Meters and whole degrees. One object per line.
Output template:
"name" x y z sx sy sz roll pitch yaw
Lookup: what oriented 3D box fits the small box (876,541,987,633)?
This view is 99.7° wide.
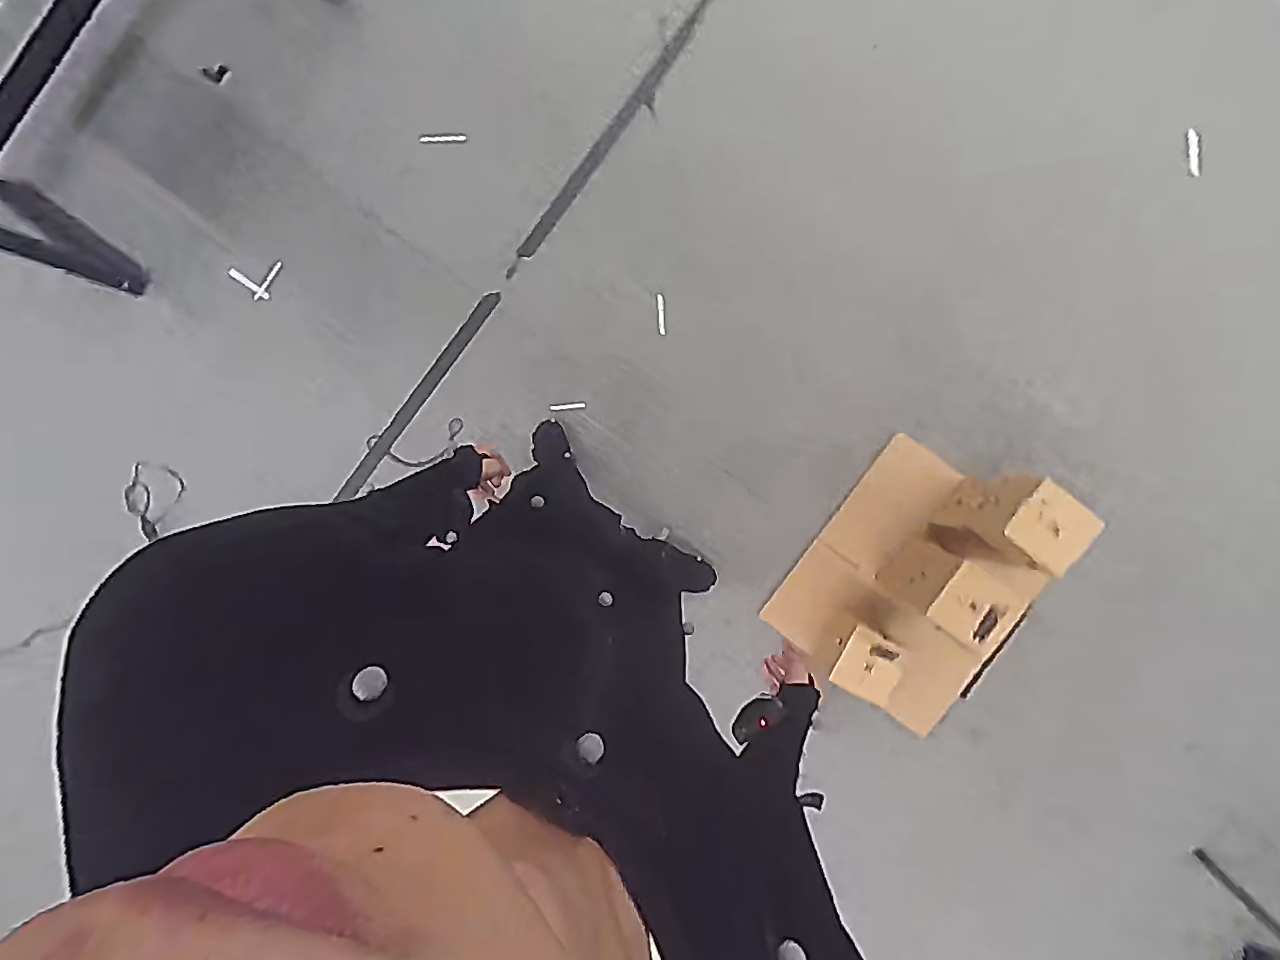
"small box" 0.801 0.286 1.503 0.179 0.176 0.168 41 93 1

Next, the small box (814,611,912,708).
"small box" 0.613 0.492 1.515 0.168 0.176 0.179 28 92 2

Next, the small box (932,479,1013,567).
"small box" 0.956 0.116 1.492 0.179 0.176 0.168 39 92 2

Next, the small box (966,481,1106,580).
"small box" 0.960 0.115 1.326 0.179 0.176 0.168 40 91 2
